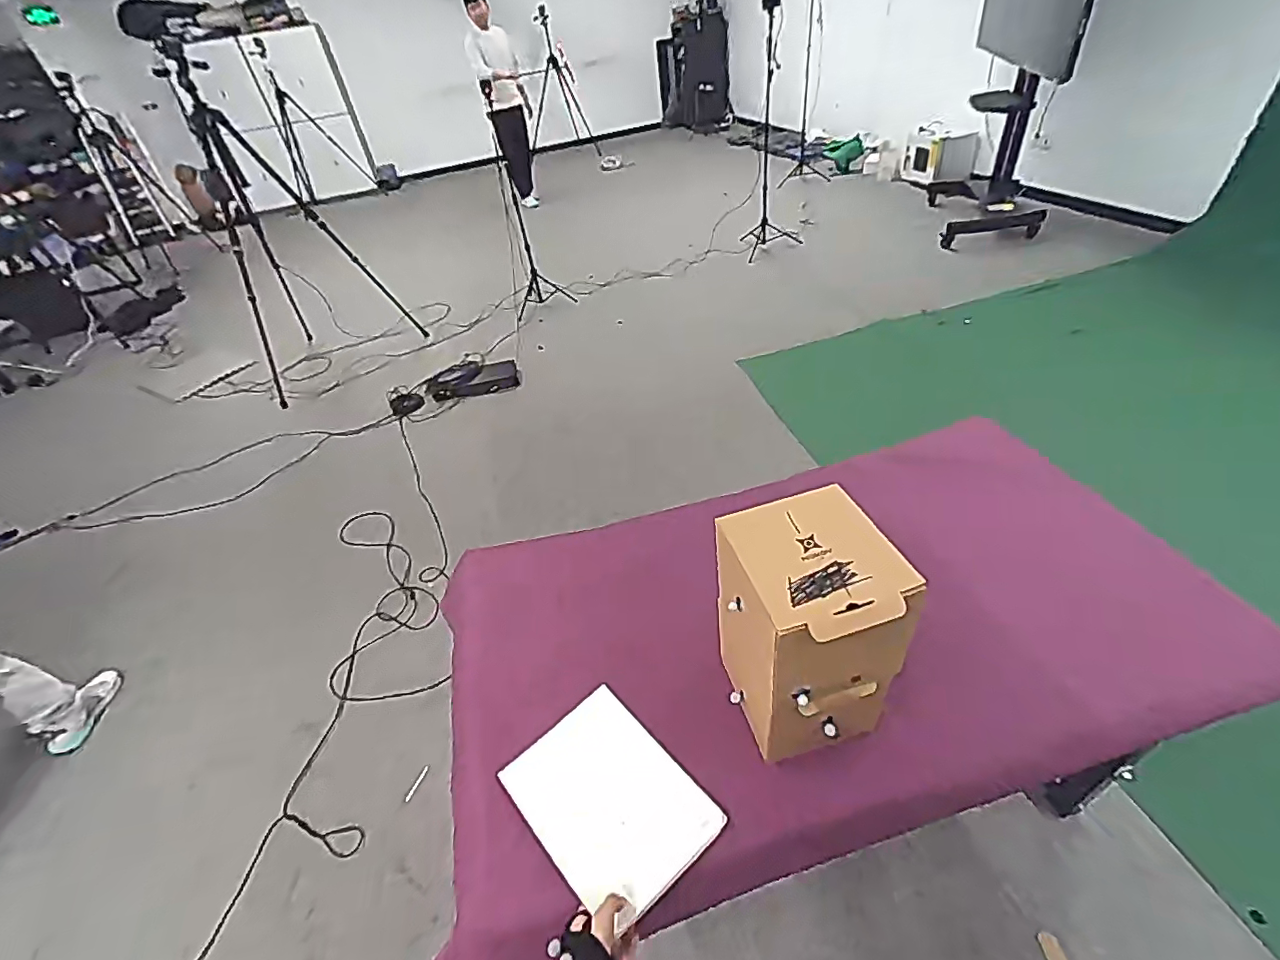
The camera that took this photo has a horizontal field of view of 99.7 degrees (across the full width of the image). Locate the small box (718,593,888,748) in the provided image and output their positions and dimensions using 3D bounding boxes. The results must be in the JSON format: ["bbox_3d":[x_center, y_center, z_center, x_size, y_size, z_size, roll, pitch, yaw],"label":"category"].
[{"bbox_3d":[0.220,0.256,0.772,0.168,0.176,0.179,-15,42,-6],"label":"small box"}]

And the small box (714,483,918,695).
[{"bbox_3d":[0.200,0.137,0.659,0.168,0.176,0.179,-15,40,-6],"label":"small box"}]
